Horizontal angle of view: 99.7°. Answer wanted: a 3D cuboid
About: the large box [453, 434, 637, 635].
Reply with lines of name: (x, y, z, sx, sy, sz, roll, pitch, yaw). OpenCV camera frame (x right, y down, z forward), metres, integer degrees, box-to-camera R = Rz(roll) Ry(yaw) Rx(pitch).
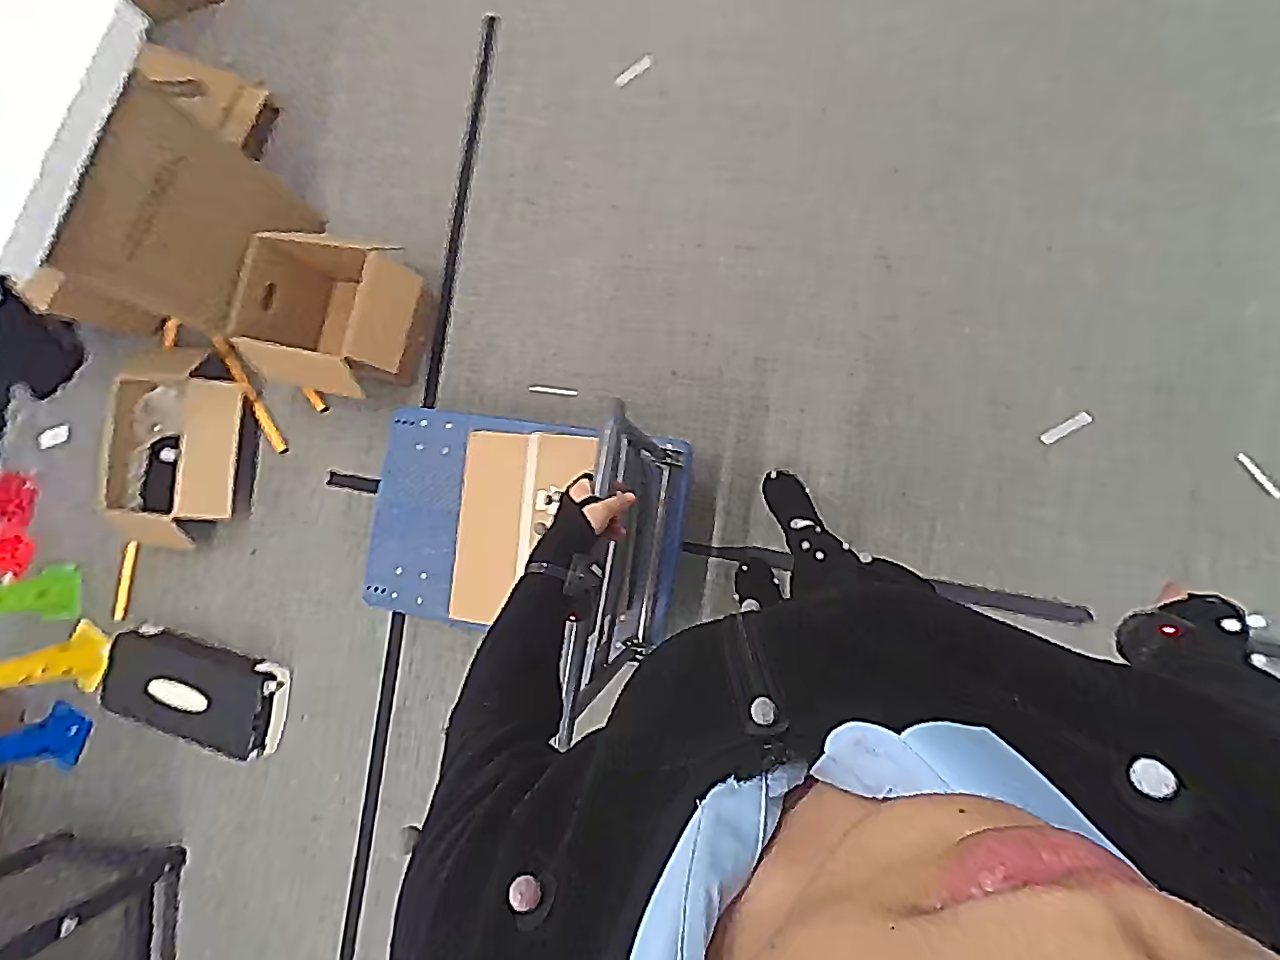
large box: (-0.201, 0.120, 1.264, 0.320, 0.320, 0.408, 4, 85, 12)
